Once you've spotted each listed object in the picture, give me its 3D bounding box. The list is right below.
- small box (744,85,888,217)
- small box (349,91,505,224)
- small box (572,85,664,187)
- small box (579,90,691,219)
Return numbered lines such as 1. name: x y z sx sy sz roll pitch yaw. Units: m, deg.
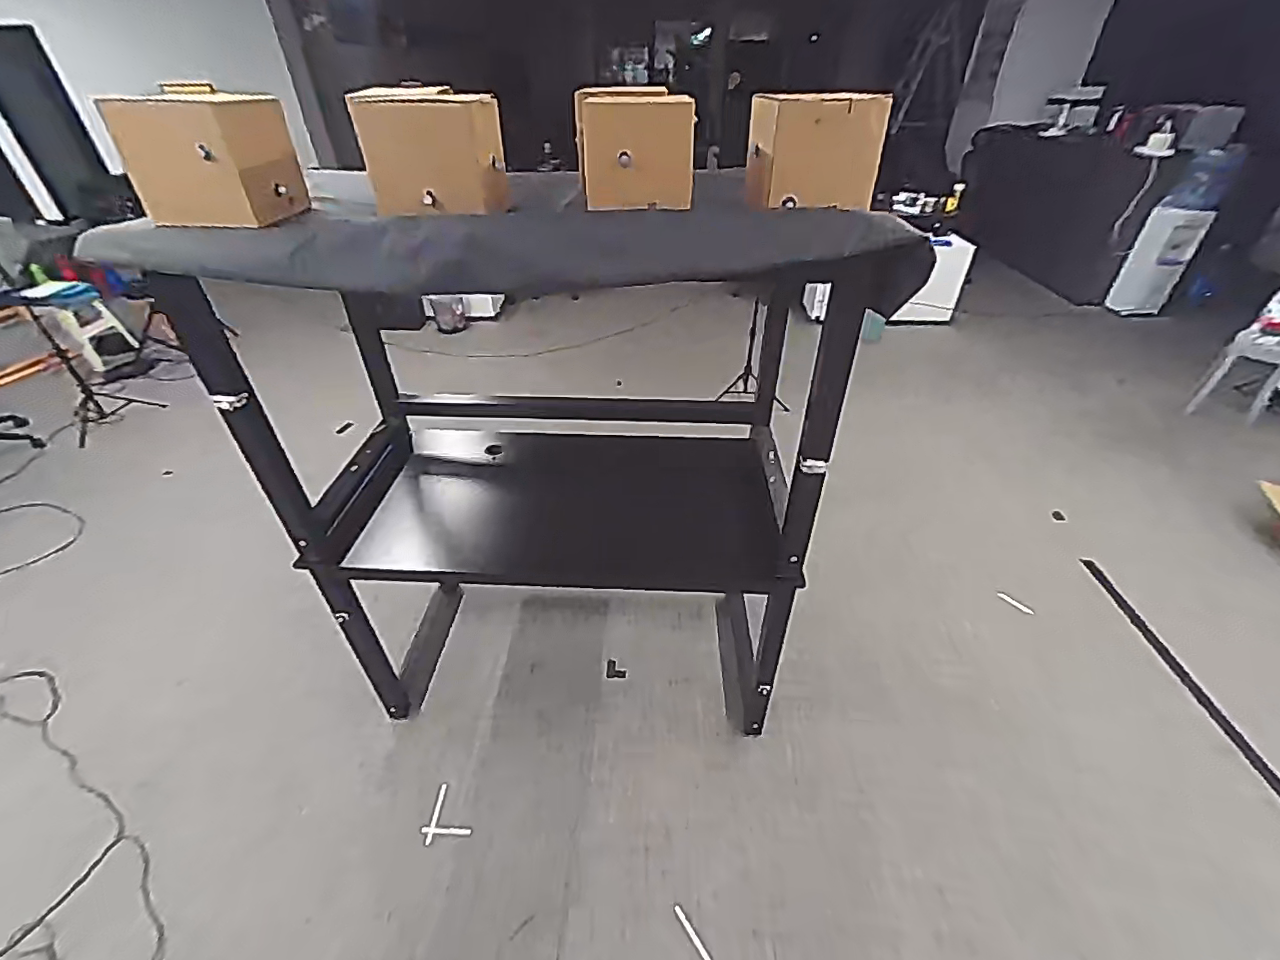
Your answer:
1. small box: 0.271 -0.530 0.876 0.168 0.176 0.179 -3 36 -2
2. small box: -0.328 -0.522 0.877 0.179 0.176 0.168 1 36 1
3. small box: -0.038 -0.711 1.119 0.179 0.176 0.168 1 38 2
4. small box: -0.004 -0.535 0.892 0.168 0.176 0.179 -1 37 0
